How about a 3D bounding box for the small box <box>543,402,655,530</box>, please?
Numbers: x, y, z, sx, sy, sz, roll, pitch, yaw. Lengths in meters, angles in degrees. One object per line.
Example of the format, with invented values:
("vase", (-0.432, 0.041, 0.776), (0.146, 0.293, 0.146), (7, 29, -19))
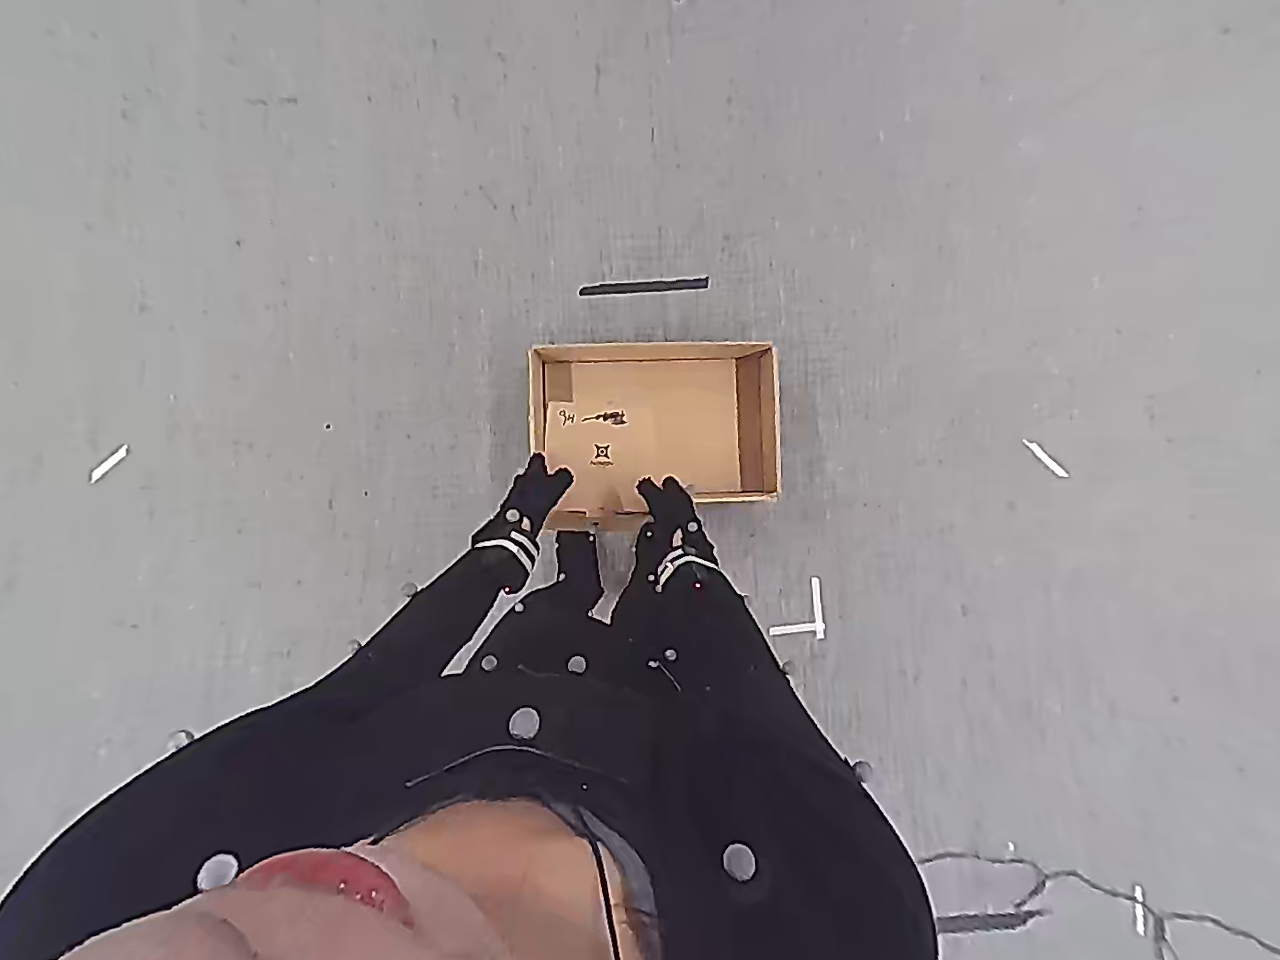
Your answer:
("small box", (-0.072, -0.013, 0.886), (0.168, 0.176, 0.179), (2, 76, -11))
